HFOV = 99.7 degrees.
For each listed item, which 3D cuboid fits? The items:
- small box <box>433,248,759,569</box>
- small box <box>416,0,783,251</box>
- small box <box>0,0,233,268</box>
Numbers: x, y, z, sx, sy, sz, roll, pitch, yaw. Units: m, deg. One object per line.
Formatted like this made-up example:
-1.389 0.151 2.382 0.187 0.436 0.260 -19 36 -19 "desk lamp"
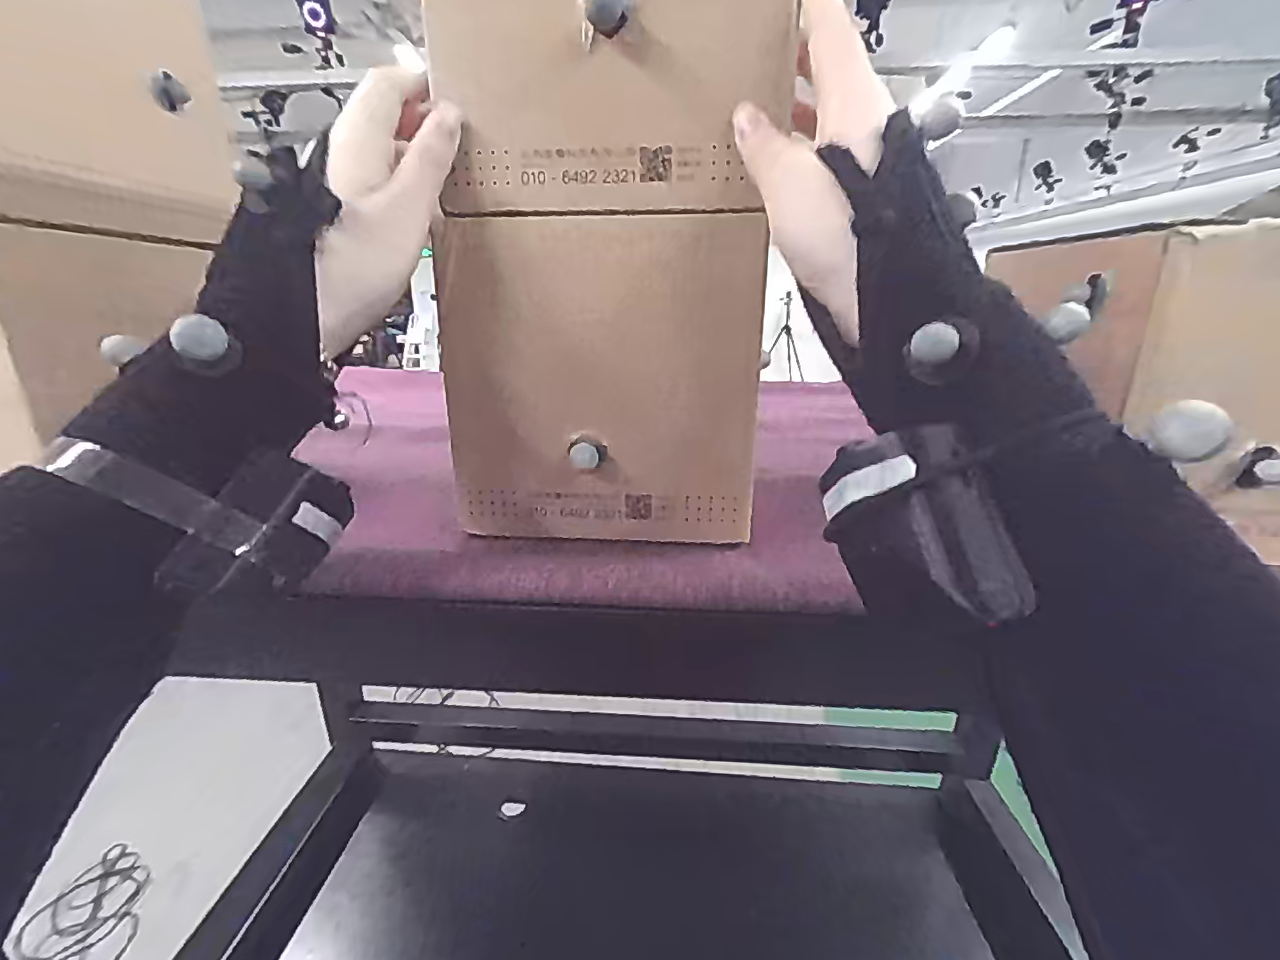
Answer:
-0.016 -0.056 0.364 0.168 0.176 0.179 1 18 5 "small box"
-0.011 -0.213 0.316 0.168 0.176 0.179 1 18 5 "small box"
-0.387 -0.214 0.320 0.168 0.176 0.179 1 19 6 "small box"
